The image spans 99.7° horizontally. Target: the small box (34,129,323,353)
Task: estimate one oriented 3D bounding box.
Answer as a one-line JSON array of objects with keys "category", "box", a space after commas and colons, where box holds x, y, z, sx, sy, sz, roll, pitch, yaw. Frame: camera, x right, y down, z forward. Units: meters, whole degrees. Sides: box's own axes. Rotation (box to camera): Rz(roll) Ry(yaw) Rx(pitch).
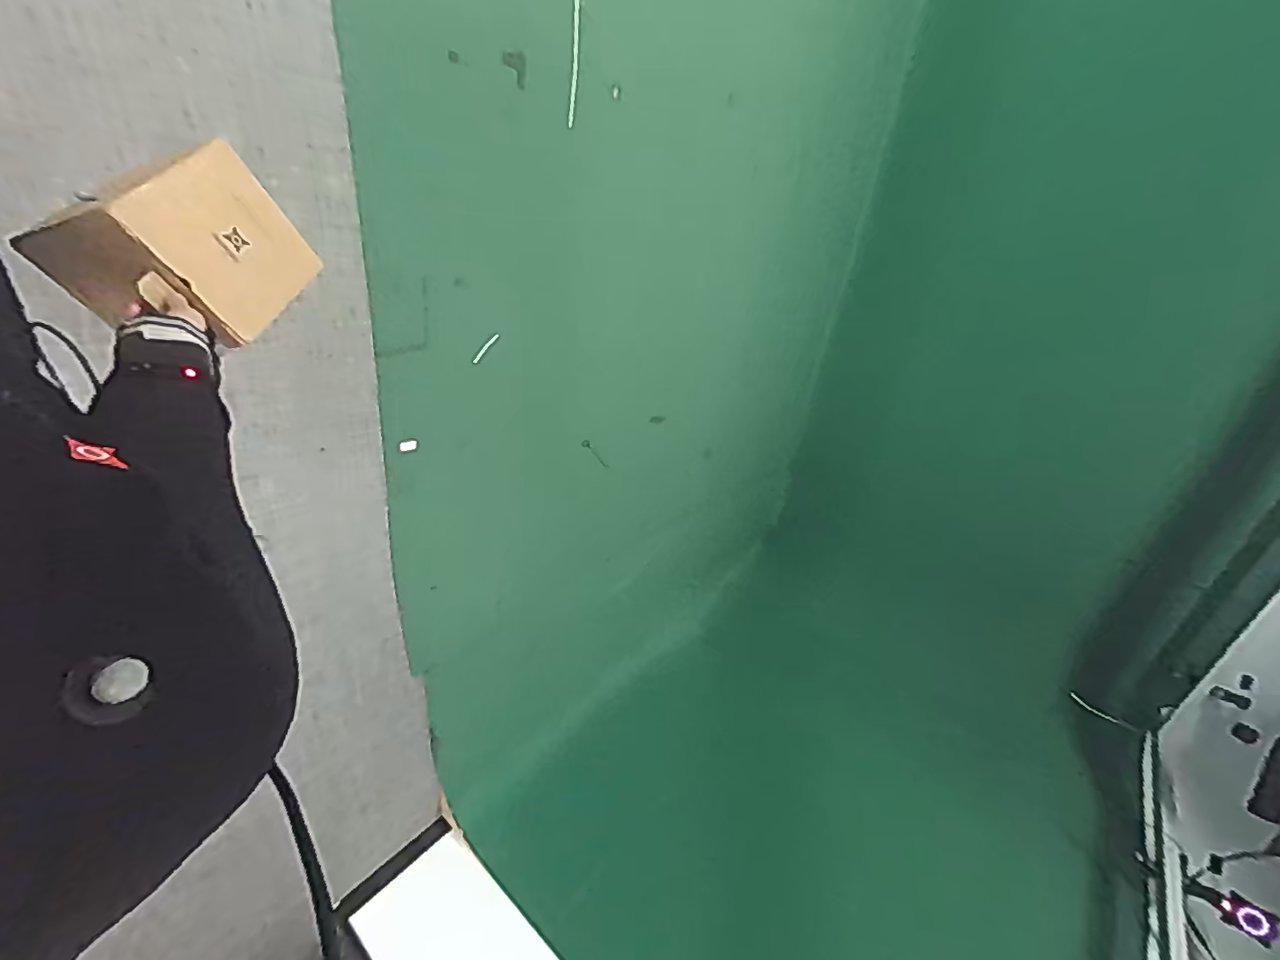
[{"category": "small box", "box": [-0.536, -0.271, 0.639, 0.168, 0.176, 0.179, 64, 30, -47]}]
